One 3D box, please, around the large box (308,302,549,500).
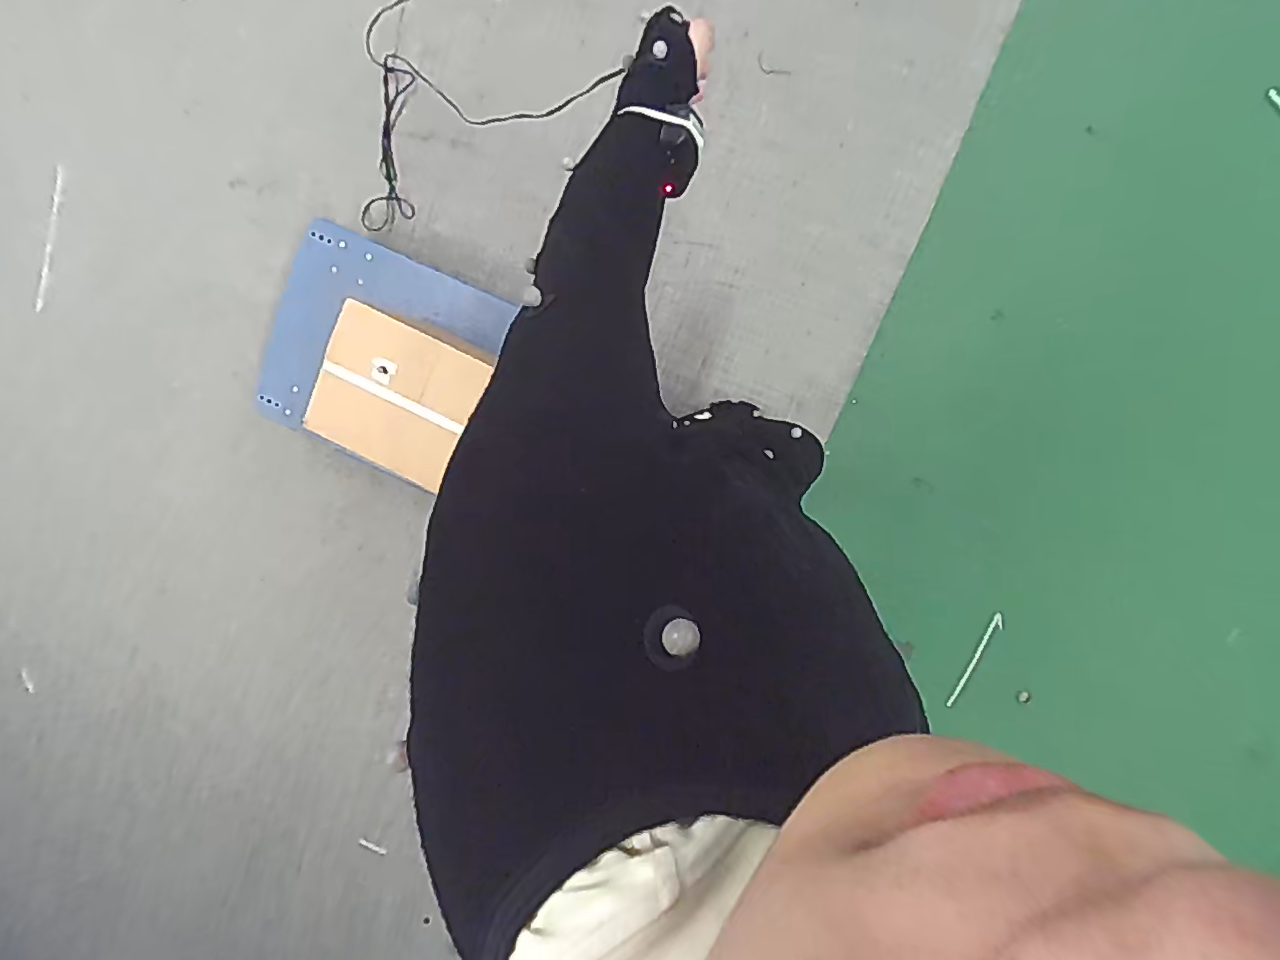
[{"bbox_3d":[-0.495,-0.189,1.335,0.408,0.320,0.320,26,98,3],"label":"large box"}]
